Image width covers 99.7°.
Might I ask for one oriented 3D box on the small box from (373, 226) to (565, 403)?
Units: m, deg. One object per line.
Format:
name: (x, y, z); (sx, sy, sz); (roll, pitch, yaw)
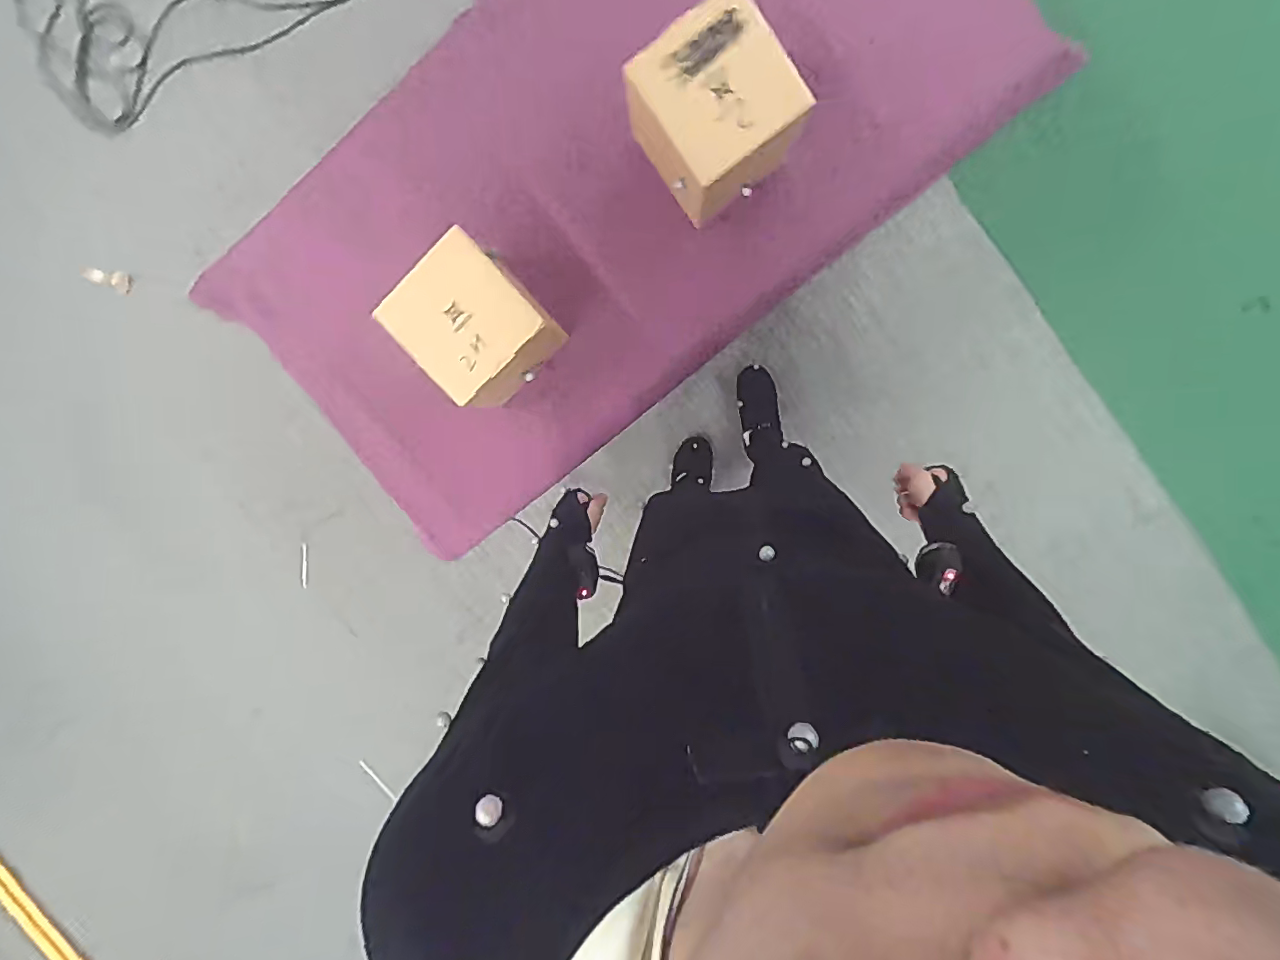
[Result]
small box: (-0.238, -0.227, 0.796); (0.168, 0.176, 0.179); (-42, 92, 9)
